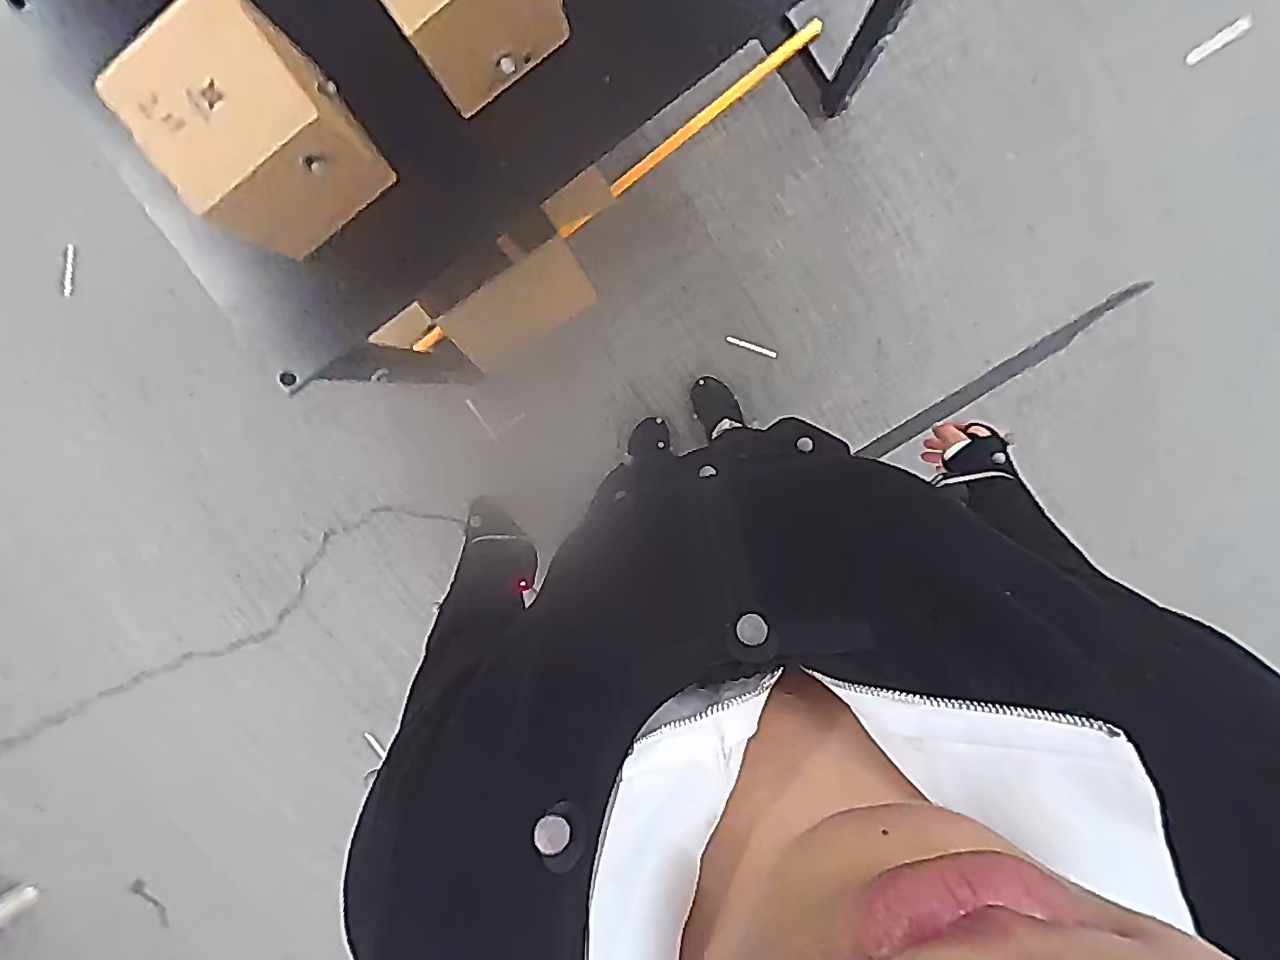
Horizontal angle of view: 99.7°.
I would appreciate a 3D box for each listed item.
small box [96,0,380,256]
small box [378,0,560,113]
[{"bbox_3d":[-0.440,-0.397,0.632,0.179,0.176,0.168,-35,95,7],"label":"small box"},{"bbox_3d":[-0.212,-0.565,0.598,0.168,0.176,0.179,-33,97,7],"label":"small box"}]
